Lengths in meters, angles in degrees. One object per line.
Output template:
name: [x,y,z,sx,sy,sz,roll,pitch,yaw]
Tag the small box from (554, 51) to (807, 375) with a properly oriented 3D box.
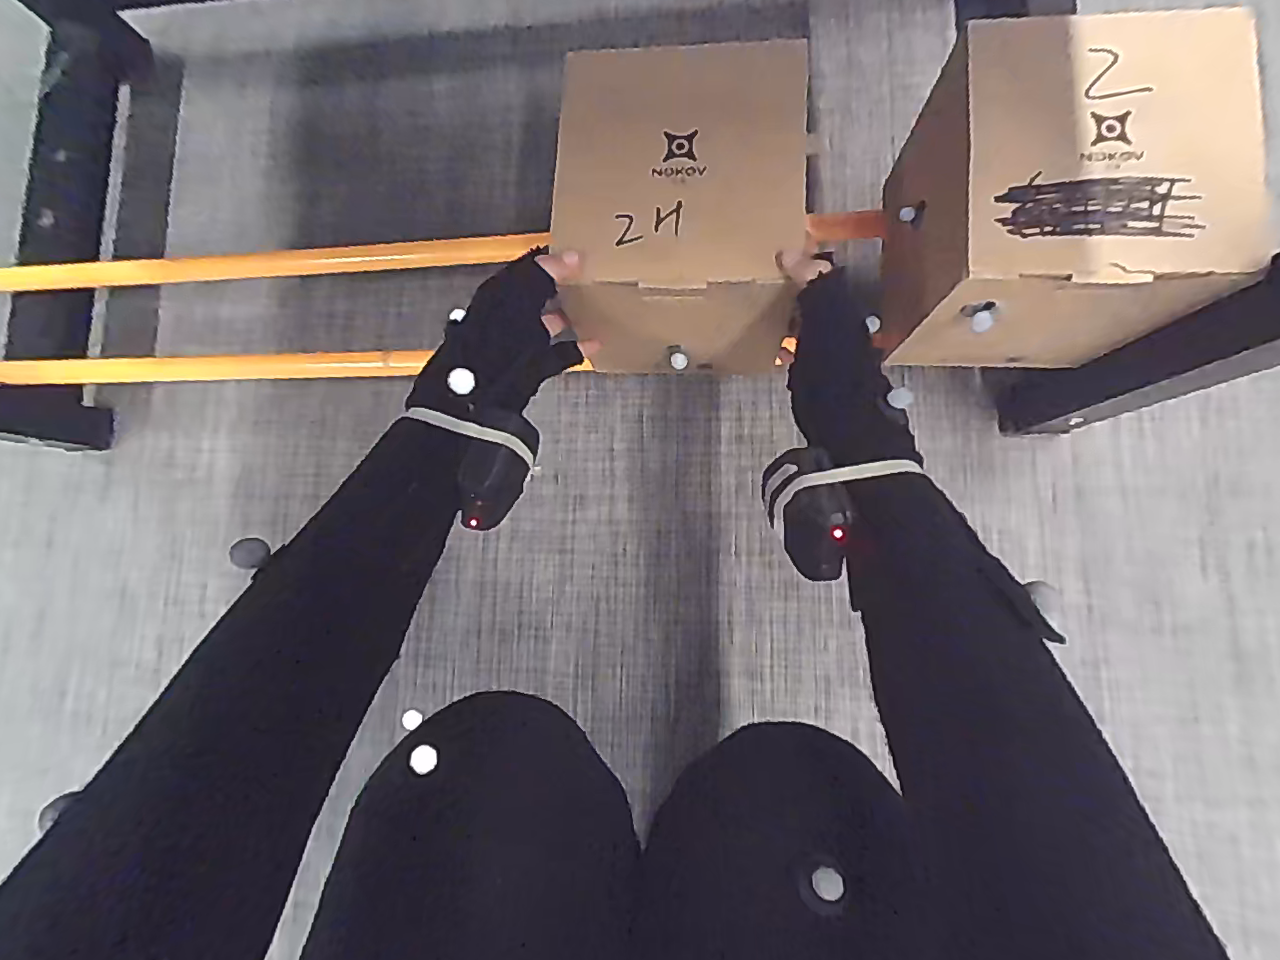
small box: [0.037,-0.201,0.446,0.168,0.176,0.179,2,81,7]
